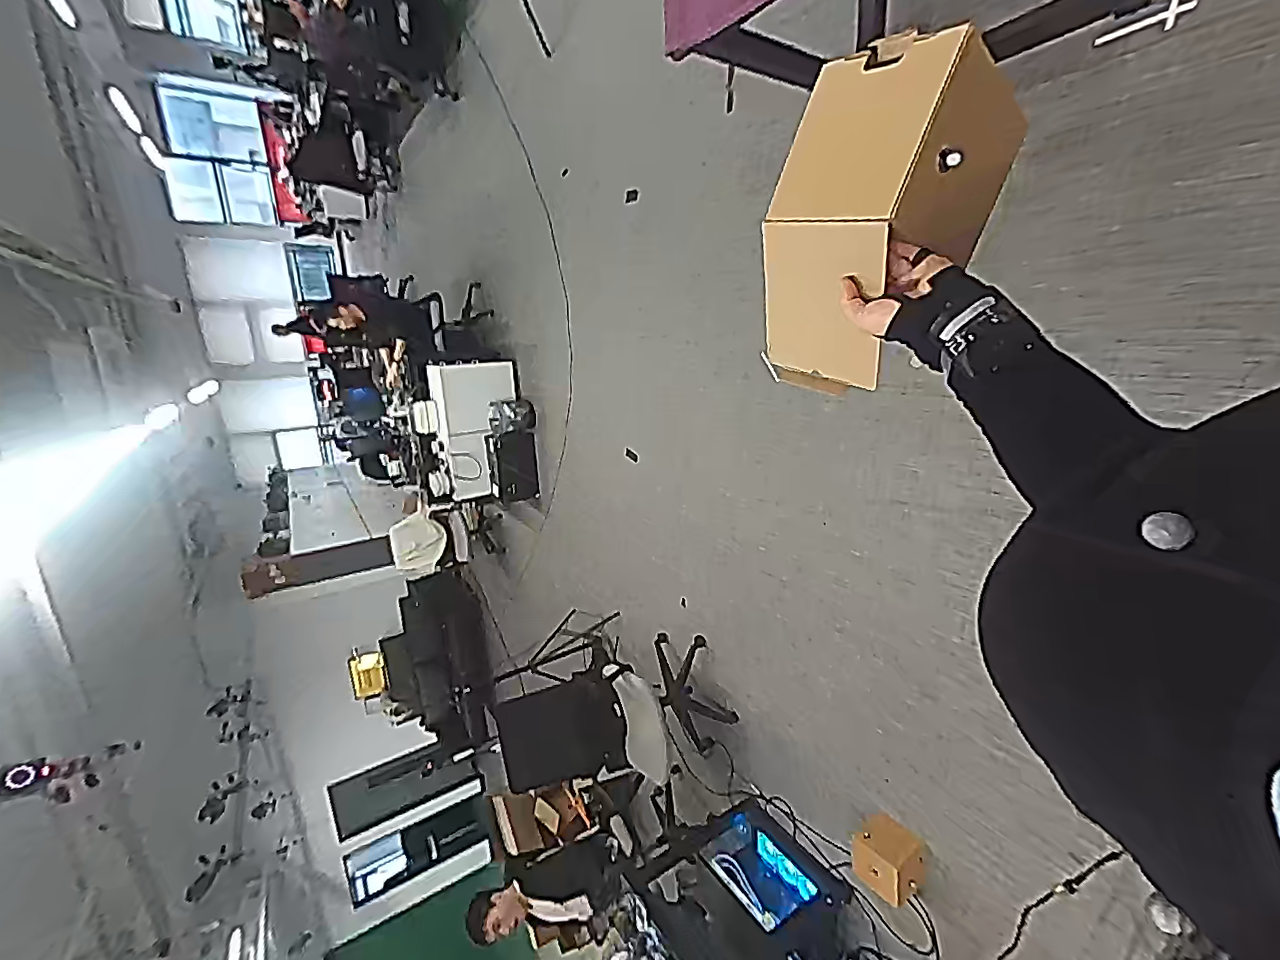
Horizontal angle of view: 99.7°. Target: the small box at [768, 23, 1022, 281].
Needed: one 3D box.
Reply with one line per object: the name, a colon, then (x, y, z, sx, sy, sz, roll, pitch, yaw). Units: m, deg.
small box: (0.283, -0.340, 0.602, 0.168, 0.176, 0.179, 34, 106, 49)
